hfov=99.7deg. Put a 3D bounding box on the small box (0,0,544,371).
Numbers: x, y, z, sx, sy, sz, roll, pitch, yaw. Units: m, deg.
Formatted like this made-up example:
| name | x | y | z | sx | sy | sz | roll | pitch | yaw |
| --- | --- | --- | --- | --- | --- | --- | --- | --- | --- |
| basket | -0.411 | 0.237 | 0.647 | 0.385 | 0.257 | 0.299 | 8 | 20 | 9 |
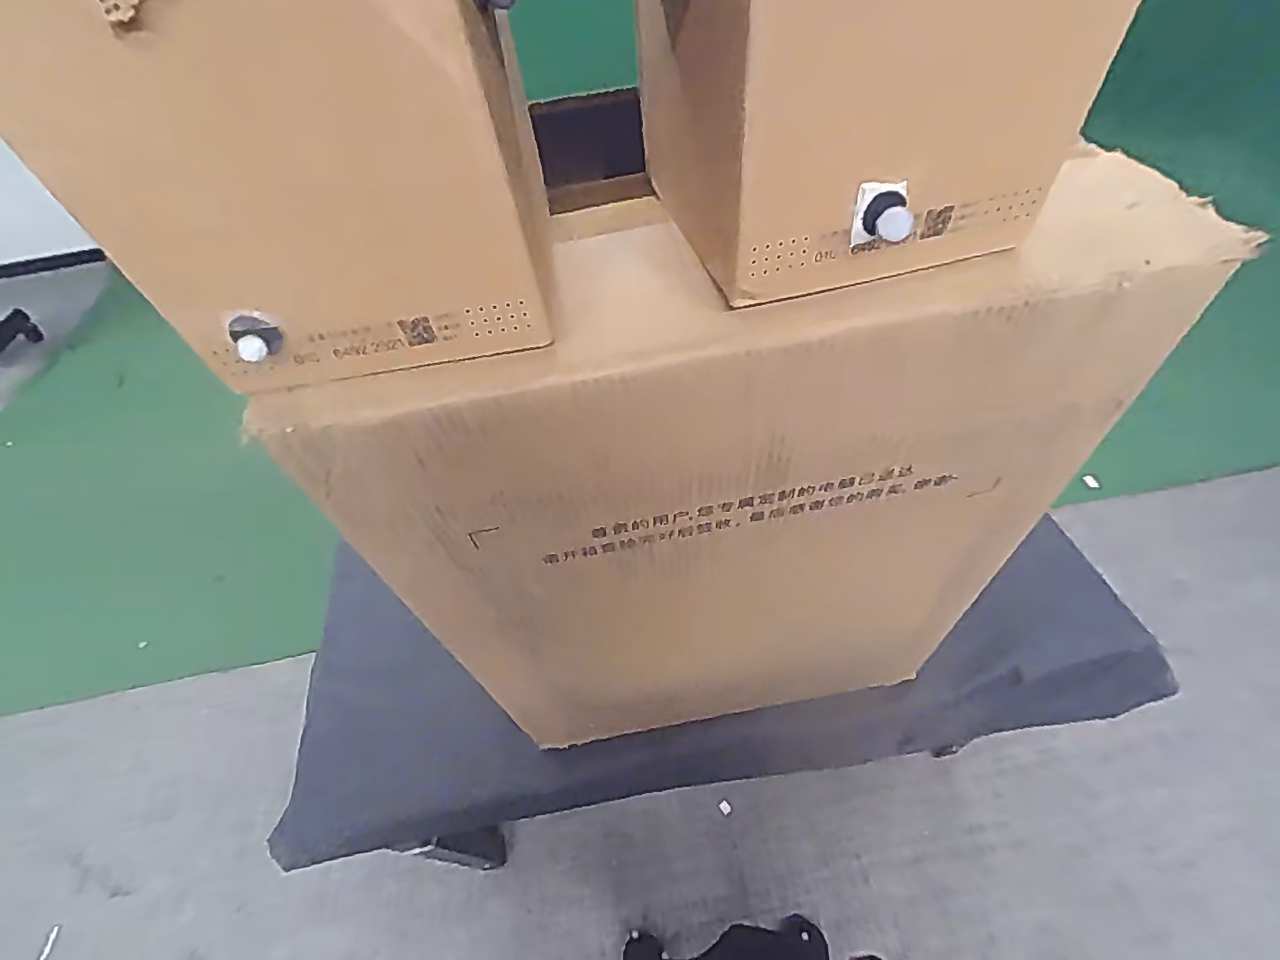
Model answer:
| name | x | y | z | sx | sy | sz | roll | pitch | yaw |
| --- | --- | --- | --- | --- | --- | --- | --- | --- | --- |
| small box | -0.146 | -0.169 | 0.266 | 0.168 | 0.176 | 0.179 | -9 | 50 | 1 |
